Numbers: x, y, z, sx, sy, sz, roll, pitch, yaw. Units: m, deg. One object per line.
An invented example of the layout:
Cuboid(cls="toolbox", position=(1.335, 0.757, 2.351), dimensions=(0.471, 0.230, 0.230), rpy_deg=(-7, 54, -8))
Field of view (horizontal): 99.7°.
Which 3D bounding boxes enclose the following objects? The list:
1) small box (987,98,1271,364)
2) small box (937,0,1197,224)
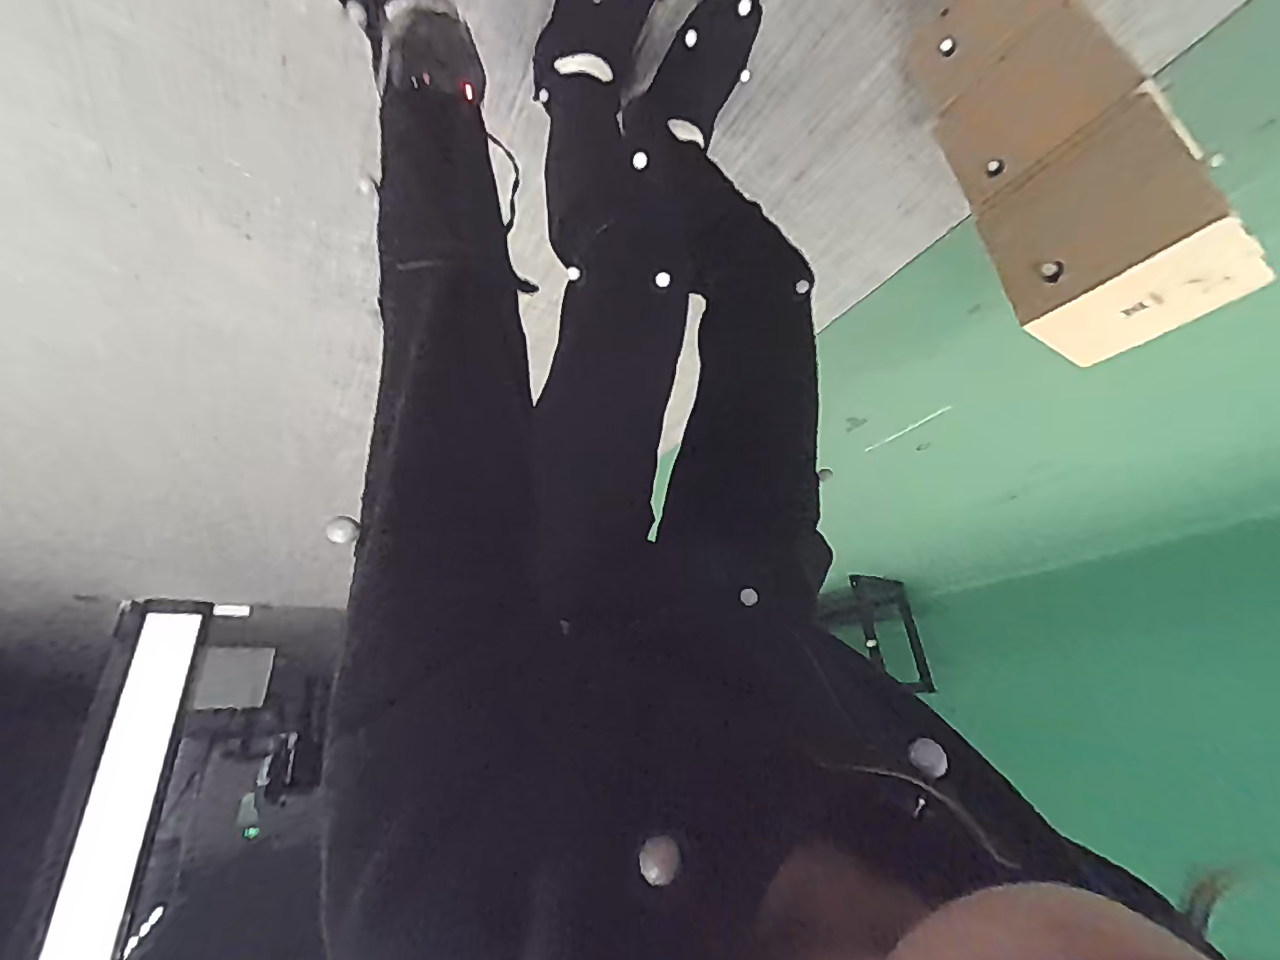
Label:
Cuboid(cls="small box", position=(0.527, -0.266, 0.608), dimensions=(0.168, 0.176, 0.179), rpy_deg=(11, 151, -31))
Cuboid(cls="small box", position=(0.508, -0.420, 0.664), dimensions=(0.168, 0.176, 0.179), rpy_deg=(11, 151, -30))
